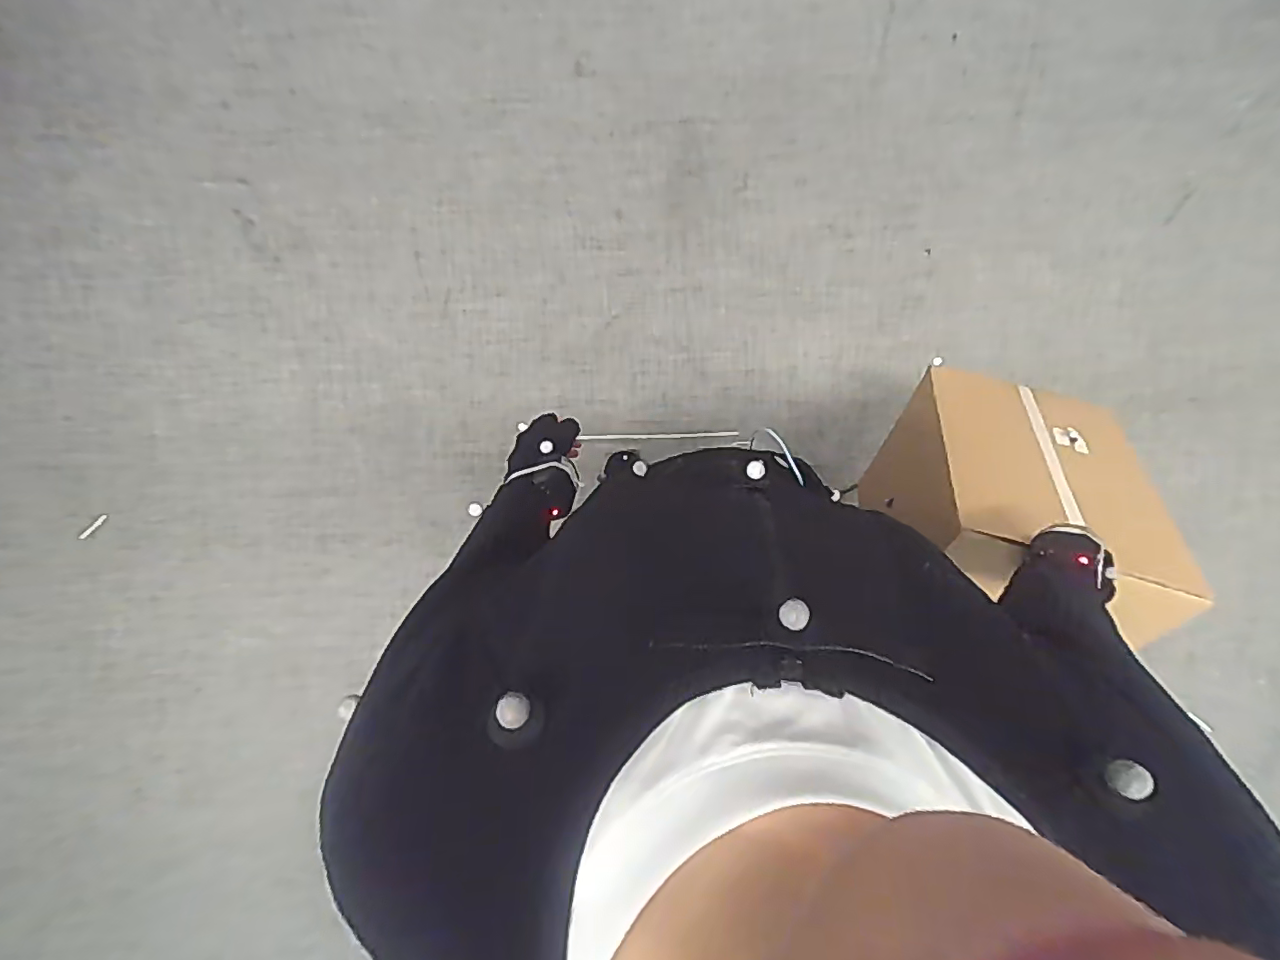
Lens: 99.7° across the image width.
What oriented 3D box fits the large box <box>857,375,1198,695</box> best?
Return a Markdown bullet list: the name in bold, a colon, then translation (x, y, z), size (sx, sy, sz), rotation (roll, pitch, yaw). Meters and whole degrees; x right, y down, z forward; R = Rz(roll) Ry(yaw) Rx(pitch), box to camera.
- **large box**: translation (0.587, 0.084, 0.932), size (0.320, 0.408, 0.320), rotation (17, 134, 6)
